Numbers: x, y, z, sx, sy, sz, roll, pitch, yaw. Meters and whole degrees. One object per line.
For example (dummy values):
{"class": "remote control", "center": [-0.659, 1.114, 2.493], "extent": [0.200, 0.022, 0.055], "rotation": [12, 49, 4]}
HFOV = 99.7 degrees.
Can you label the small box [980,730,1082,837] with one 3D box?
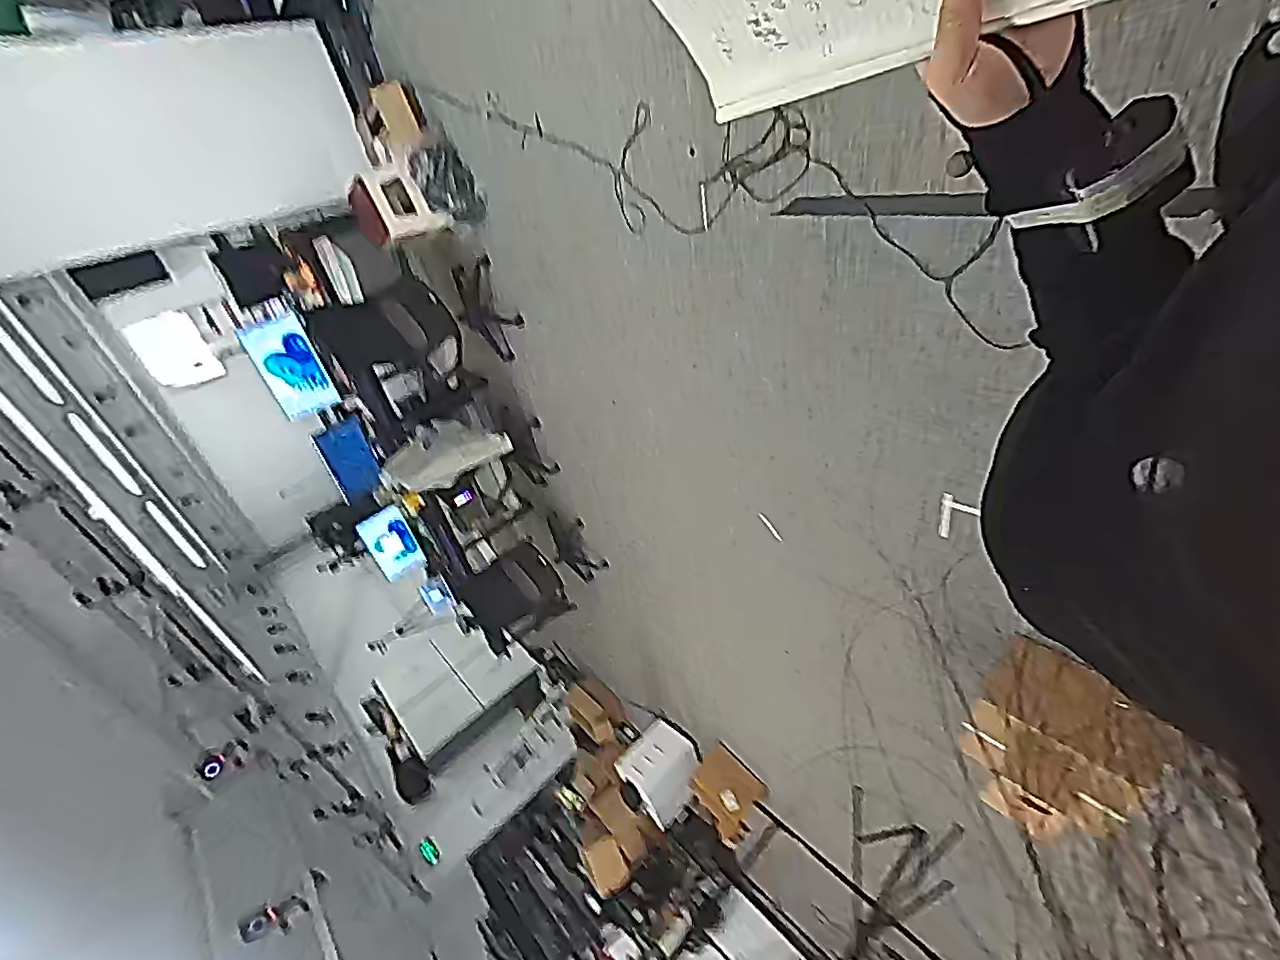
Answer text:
{"class": "small box", "center": [1.097, 0.843, 1.515], "extent": [0.168, 0.176, 0.179], "rotation": [31, 143, 37]}
